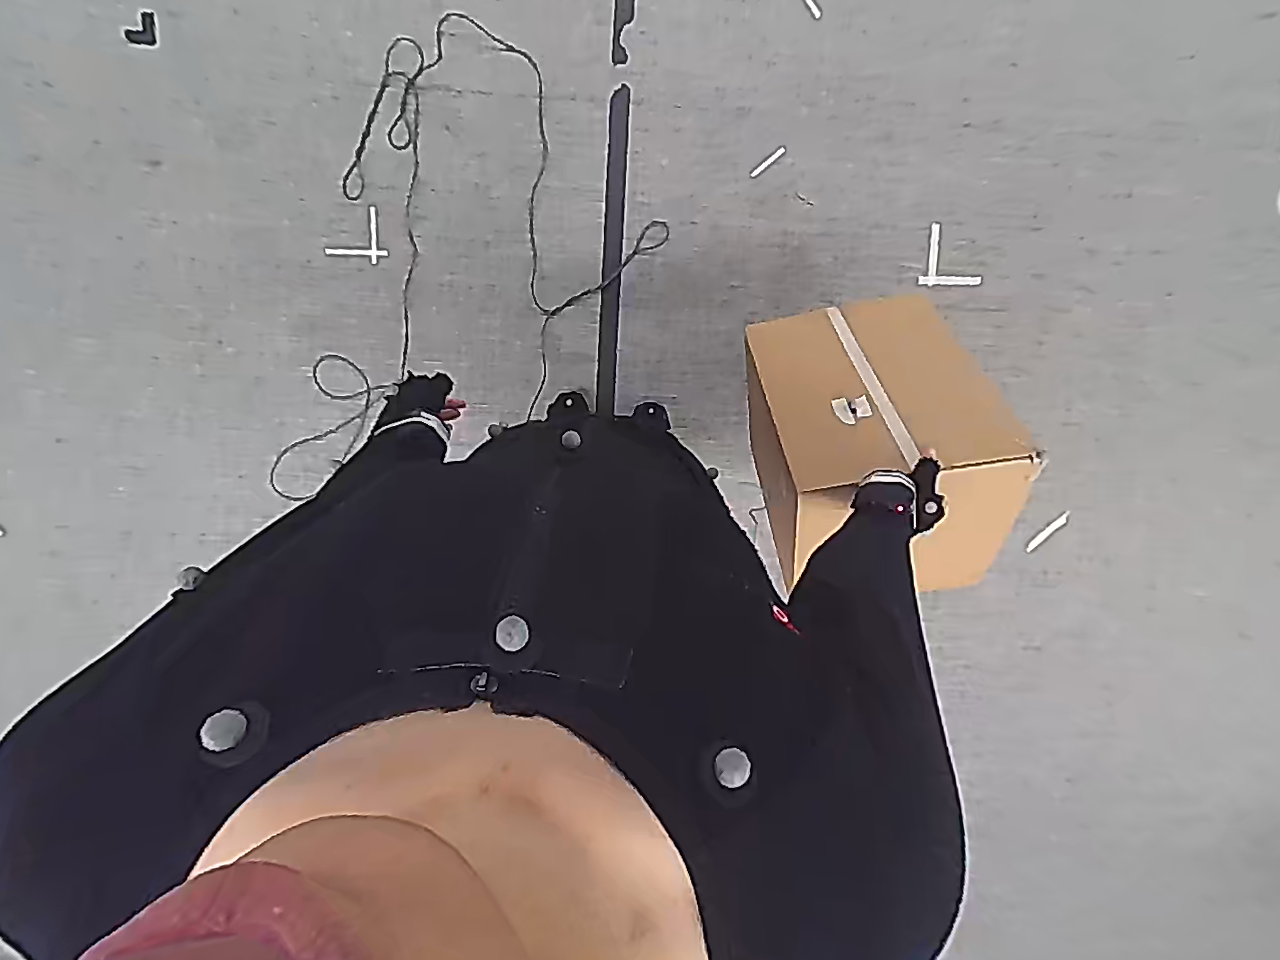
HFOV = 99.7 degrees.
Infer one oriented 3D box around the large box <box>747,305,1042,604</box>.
[{"bbox_3d":[0.385,-0.047,0.955,0.320,0.408,0.320,-10,138,6],"label":"large box"}]
